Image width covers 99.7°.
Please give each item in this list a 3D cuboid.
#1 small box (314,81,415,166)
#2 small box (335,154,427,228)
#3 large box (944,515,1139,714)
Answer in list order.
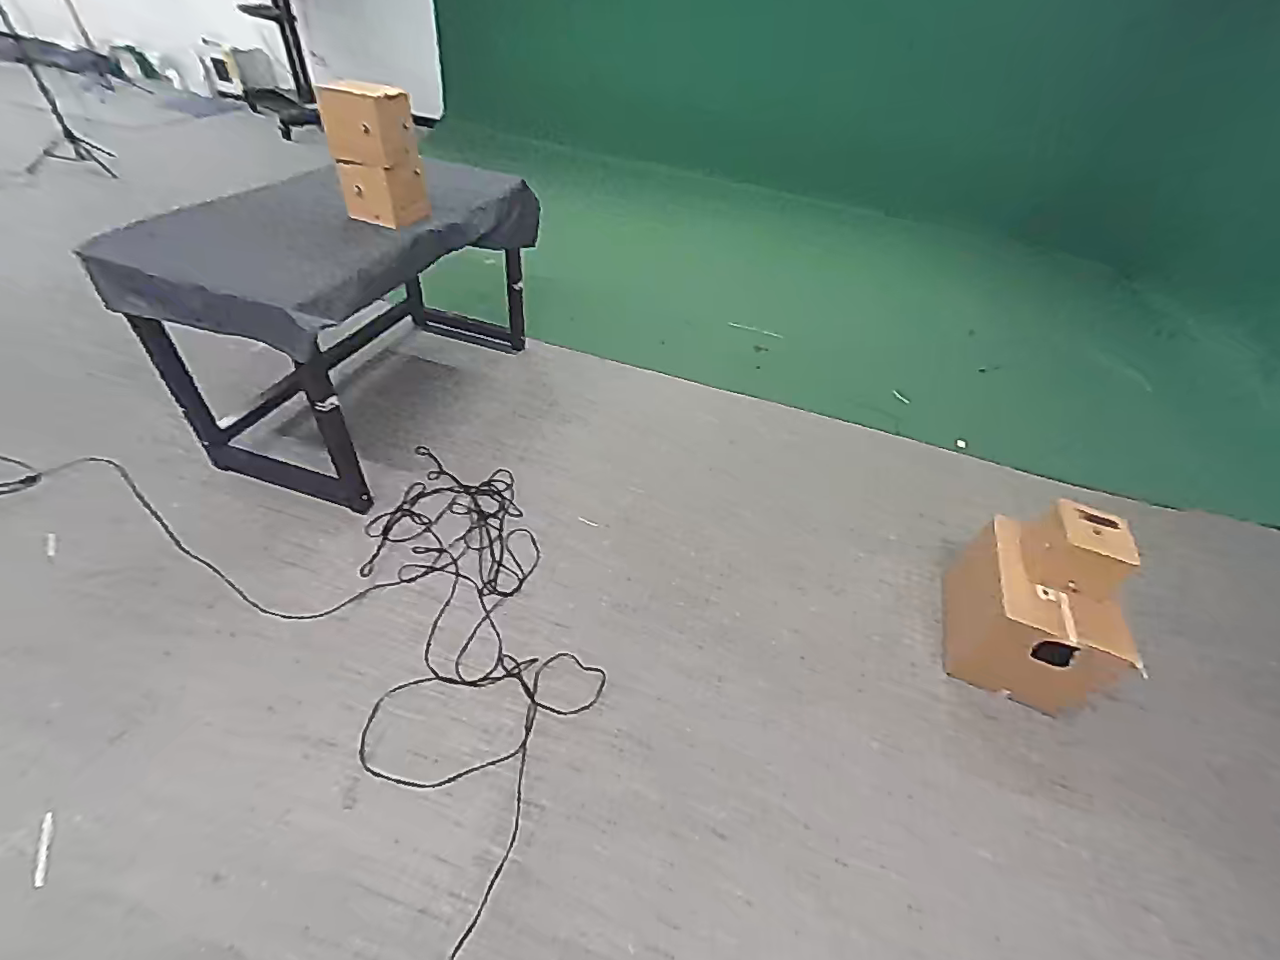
[{"bbox_3d":[-0.754,-0.989,1.505,0.179,0.176,0.168,12,42,6],"label":"small box"},{"bbox_3d":[-0.765,-0.878,1.623,0.168,0.176,0.179,17,44,10],"label":"small box"},{"bbox_3d":[1.116,0.381,1.567,0.320,0.320,0.408,19,46,12],"label":"large box"}]
